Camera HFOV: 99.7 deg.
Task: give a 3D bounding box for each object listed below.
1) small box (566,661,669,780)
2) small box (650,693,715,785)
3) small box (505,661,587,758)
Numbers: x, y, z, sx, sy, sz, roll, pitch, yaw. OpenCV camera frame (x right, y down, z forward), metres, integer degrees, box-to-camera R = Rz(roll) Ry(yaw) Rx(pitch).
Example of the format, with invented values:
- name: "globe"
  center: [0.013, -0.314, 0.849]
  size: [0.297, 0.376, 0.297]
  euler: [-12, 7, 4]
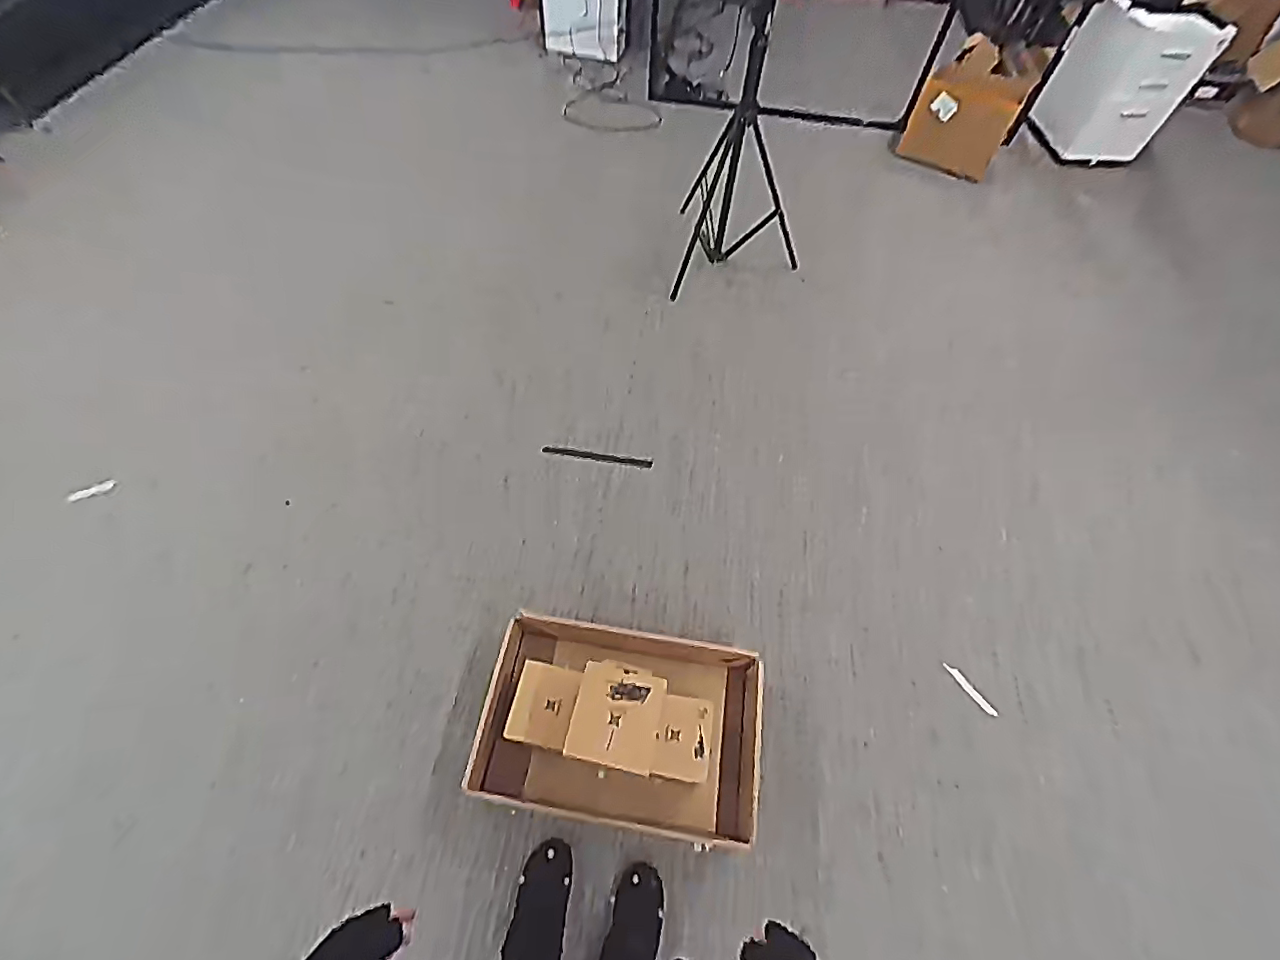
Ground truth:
- name: "small box"
  center: [-0.044, 0.492, 1.100]
  size: [0.168, 0.176, 0.179]
  euler: [12, 59, 5]
- name: "small box"
  center: [0.070, 0.591, 1.238]
  size: [0.179, 0.176, 0.168]
  euler: [8, 59, 5]
- name: "small box"
  center: [-0.191, 0.539, 1.255]
  size: [0.179, 0.176, 0.168]
  euler: [11, 59, 4]
